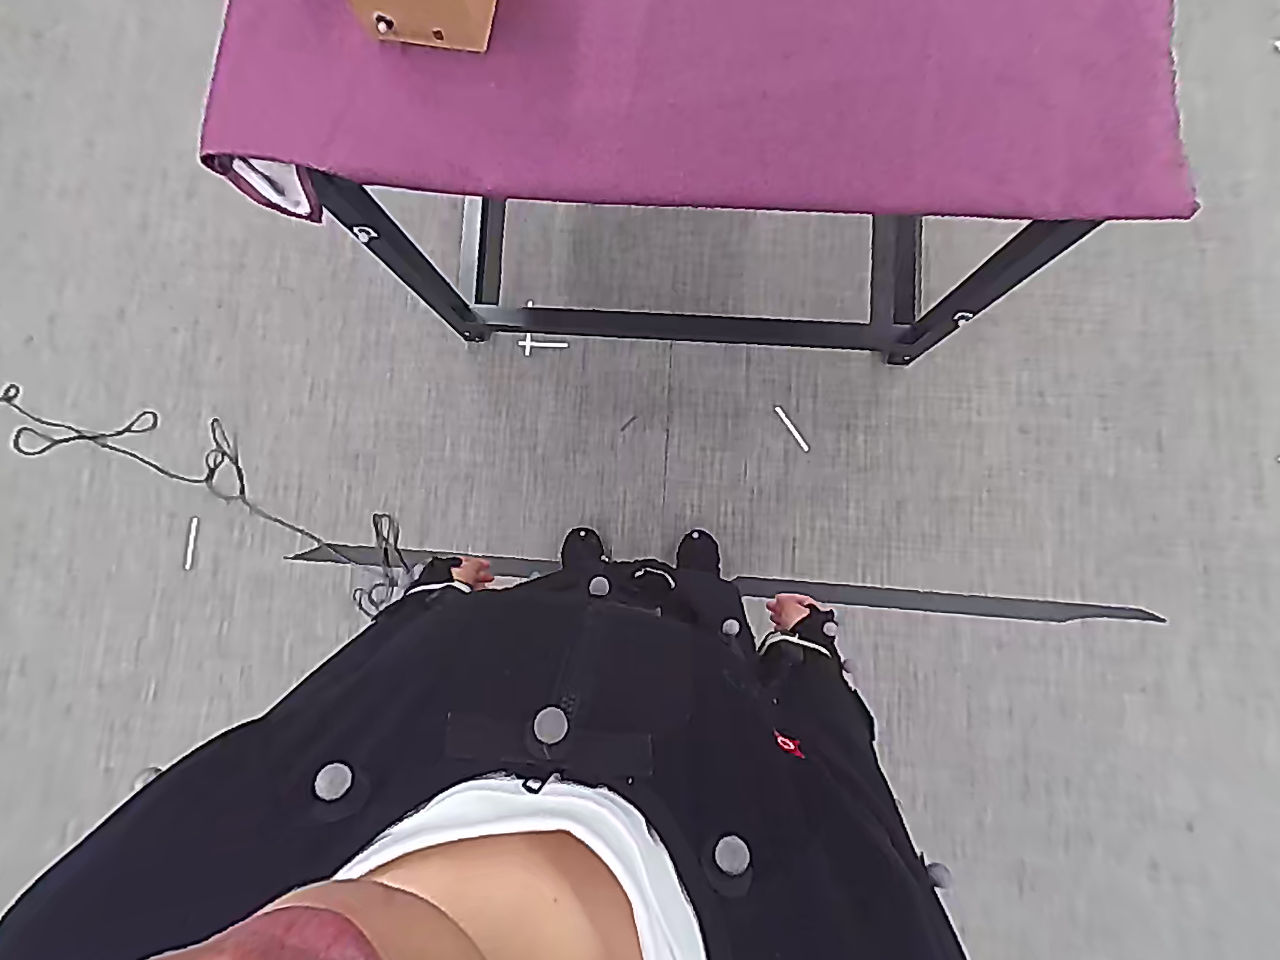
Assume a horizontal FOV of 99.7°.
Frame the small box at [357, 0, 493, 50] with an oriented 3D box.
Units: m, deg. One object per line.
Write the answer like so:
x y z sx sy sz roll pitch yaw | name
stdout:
-0.282 -0.695 0.681 0.168 0.176 0.179 10 85 3 | small box
